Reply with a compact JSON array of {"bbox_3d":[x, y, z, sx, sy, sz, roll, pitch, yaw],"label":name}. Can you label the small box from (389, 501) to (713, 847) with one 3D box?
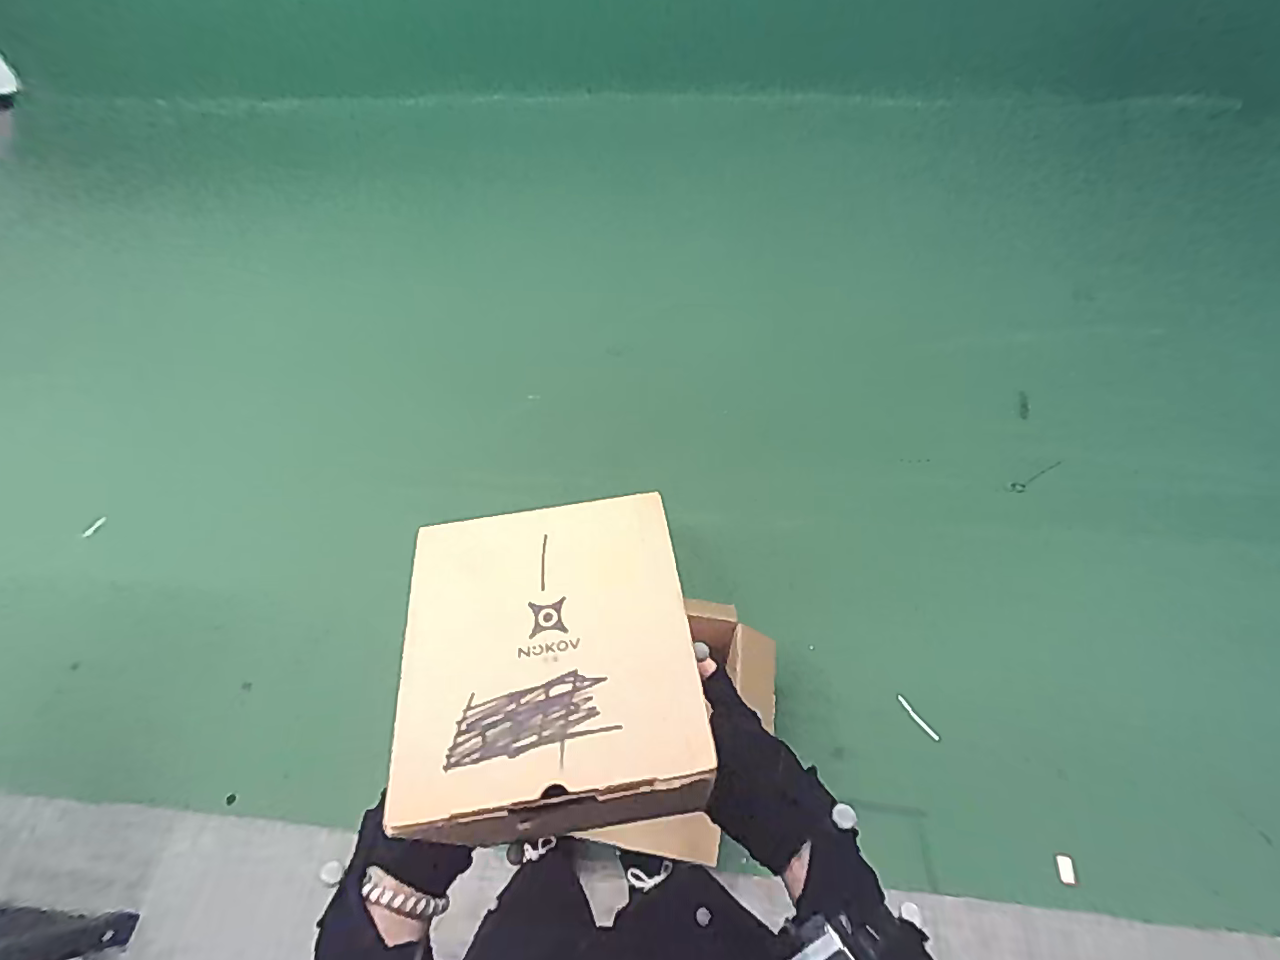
[{"bbox_3d":[-0.049,0.141,0.377,0.168,0.176,0.179,-8,53,-3],"label":"small box"}]
